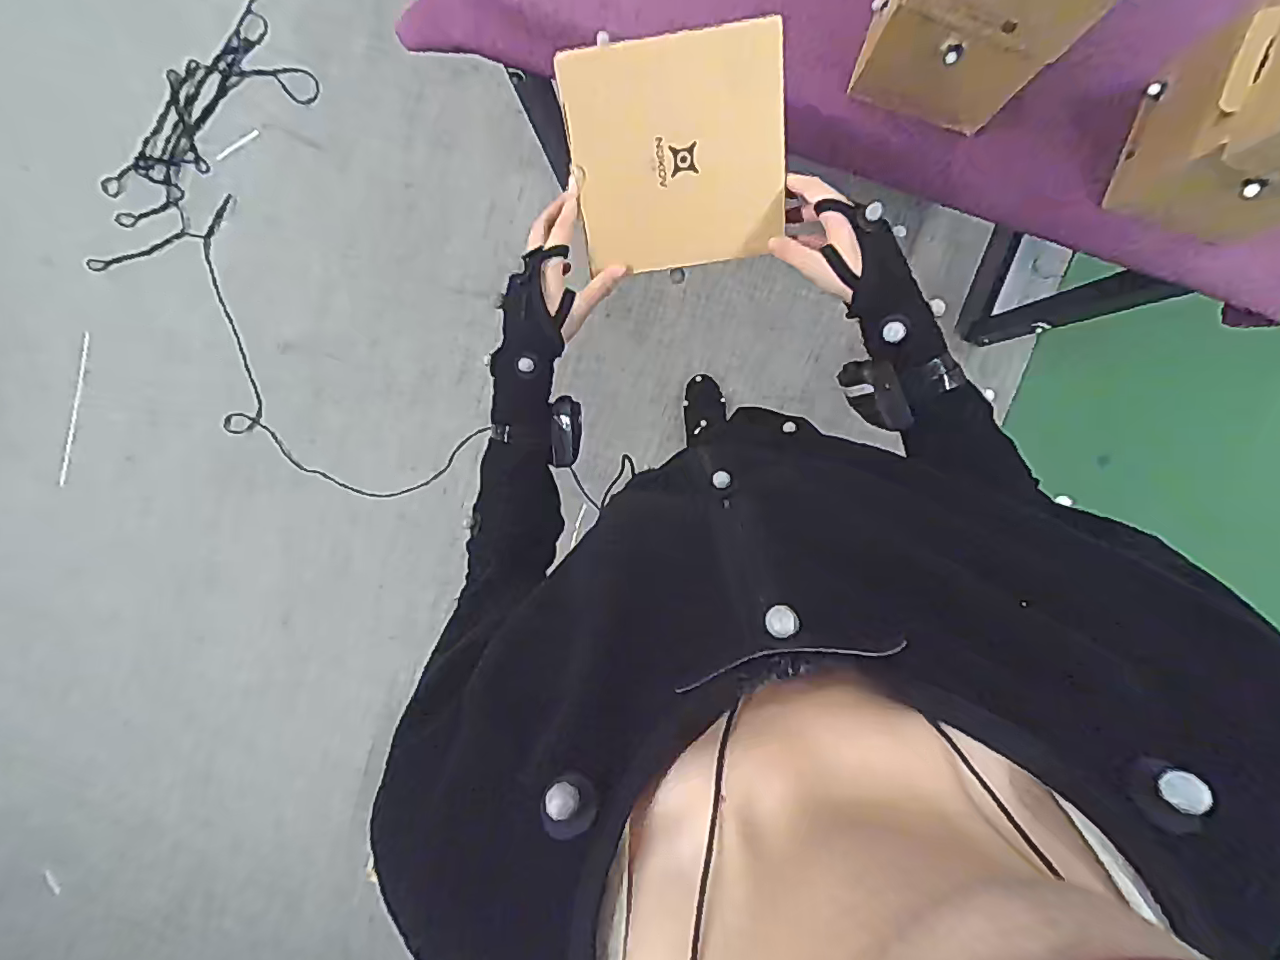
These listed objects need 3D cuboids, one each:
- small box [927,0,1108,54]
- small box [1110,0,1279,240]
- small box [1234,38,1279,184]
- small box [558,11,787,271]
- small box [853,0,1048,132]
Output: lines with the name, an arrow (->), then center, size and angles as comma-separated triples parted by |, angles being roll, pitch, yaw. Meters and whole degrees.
small box -> 0.370, -0.523, 0.460 | 0.168, 0.176, 0.179 | 23, 96, 1
small box -> 0.703, -0.397, 0.614 | 0.179, 0.176, 0.168 | 18, 97, 2
small box -> 0.684, -0.365, 0.453 | 0.168, 0.176, 0.179 | 21, 96, 2
small box -> 0.031, -0.306, 0.512 | 0.179, 0.176, 0.168 | -7, 118, 4
small box -> 0.375, -0.545, 0.623 | 0.179, 0.176, 0.168 | 20, 96, 1
